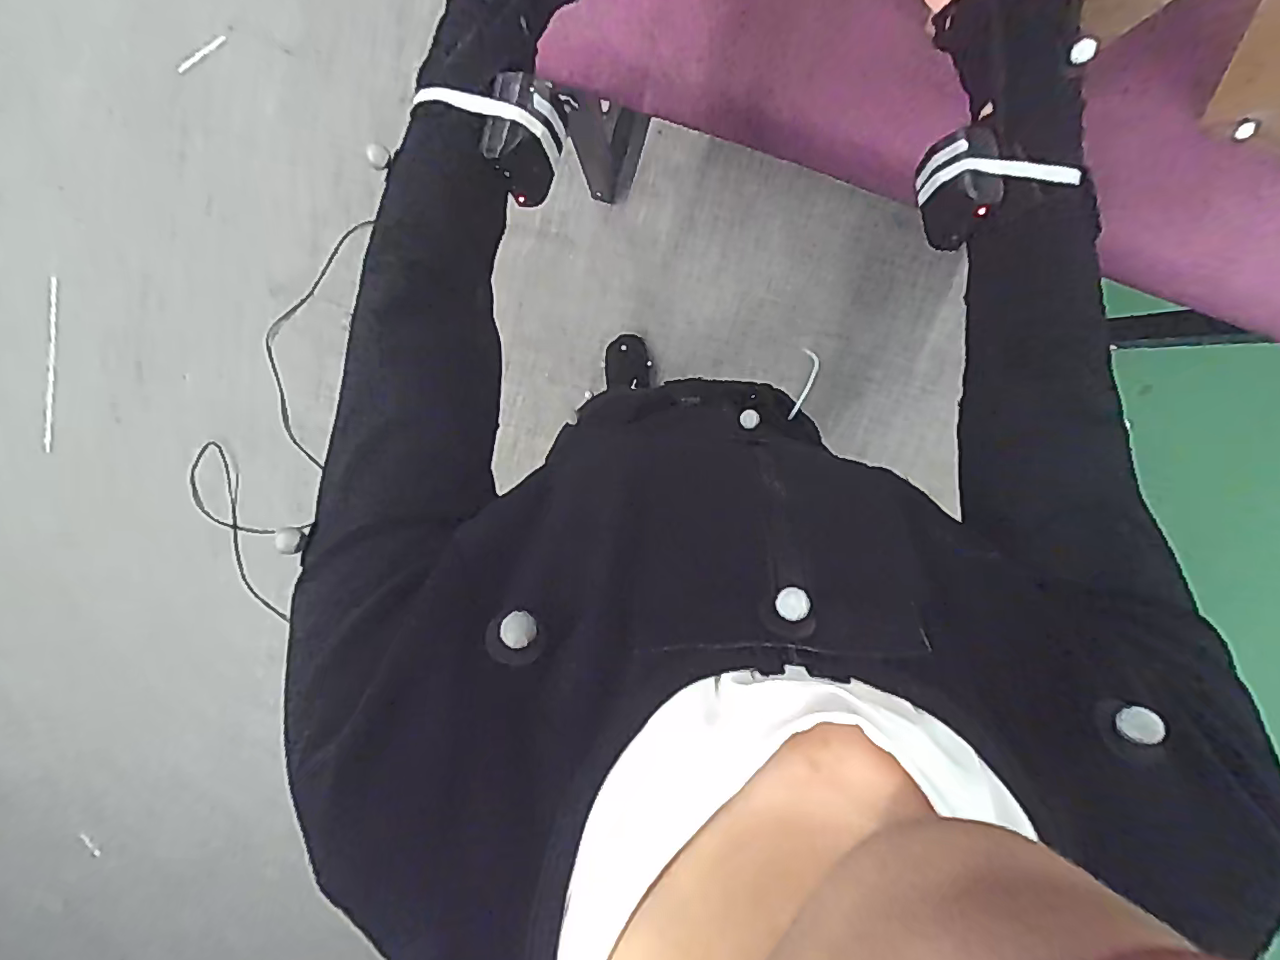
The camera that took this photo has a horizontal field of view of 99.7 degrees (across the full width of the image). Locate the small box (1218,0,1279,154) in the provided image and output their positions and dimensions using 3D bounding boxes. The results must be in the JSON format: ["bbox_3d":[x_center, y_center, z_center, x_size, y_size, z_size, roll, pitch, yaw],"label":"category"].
[{"bbox_3d":[0.757,-0.444,0.537,0.168,0.176,0.179,22,102,-5],"label":"small box"}]

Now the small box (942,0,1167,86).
[{"bbox_3d":[0.433,-0.538,0.529,0.168,0.176,0.179,21,101,1],"label":"small box"}]
